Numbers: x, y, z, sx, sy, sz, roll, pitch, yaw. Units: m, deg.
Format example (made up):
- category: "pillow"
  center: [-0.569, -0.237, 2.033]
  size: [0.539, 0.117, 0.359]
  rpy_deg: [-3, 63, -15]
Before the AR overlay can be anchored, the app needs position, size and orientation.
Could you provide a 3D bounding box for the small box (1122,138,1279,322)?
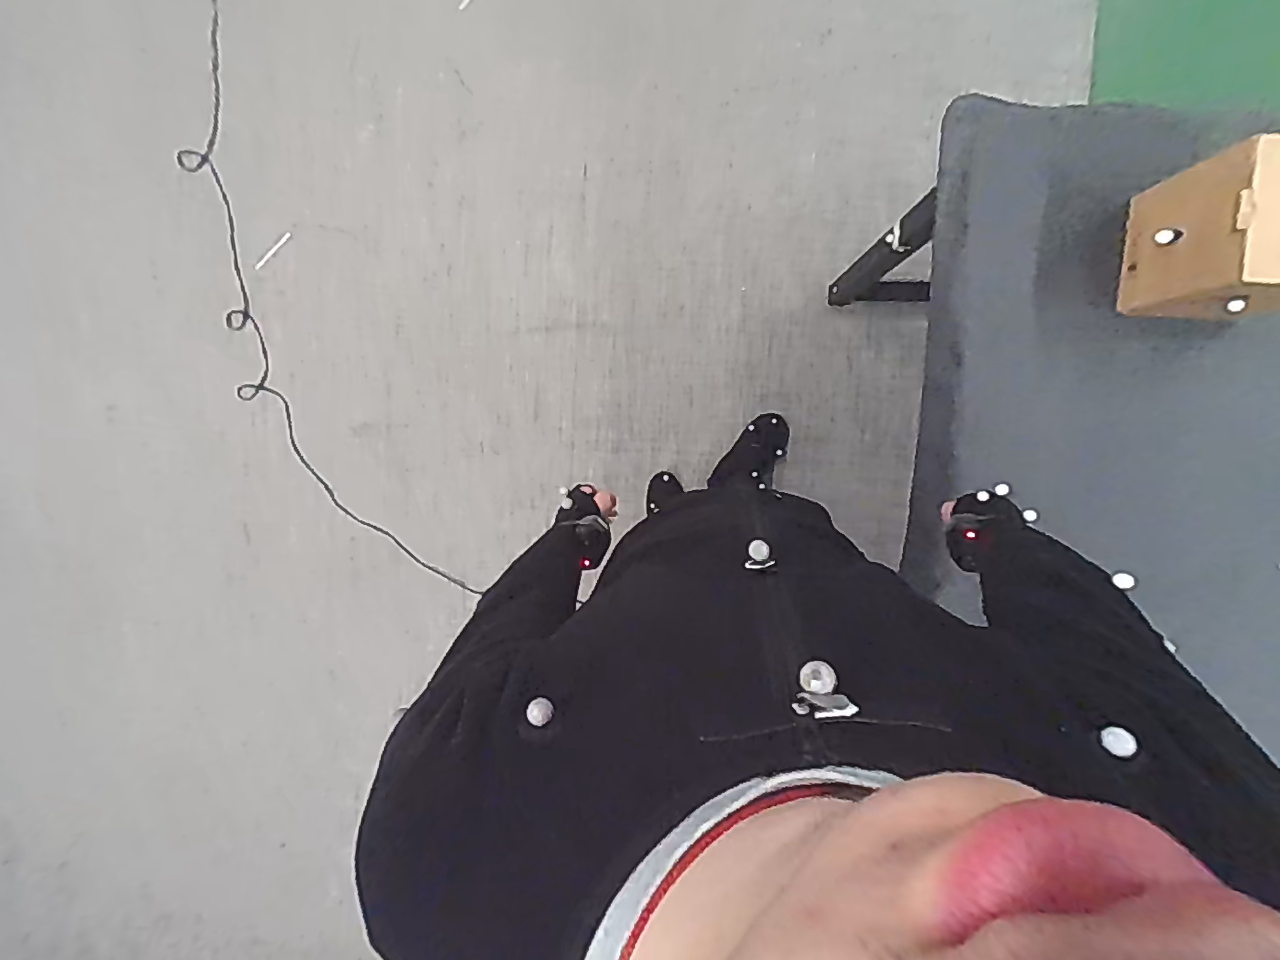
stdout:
- category: "small box"
  center: [0.778, -0.304, 0.692]
  size: [0.179, 0.176, 0.168]
  rpy_deg: [4, 95, 2]
